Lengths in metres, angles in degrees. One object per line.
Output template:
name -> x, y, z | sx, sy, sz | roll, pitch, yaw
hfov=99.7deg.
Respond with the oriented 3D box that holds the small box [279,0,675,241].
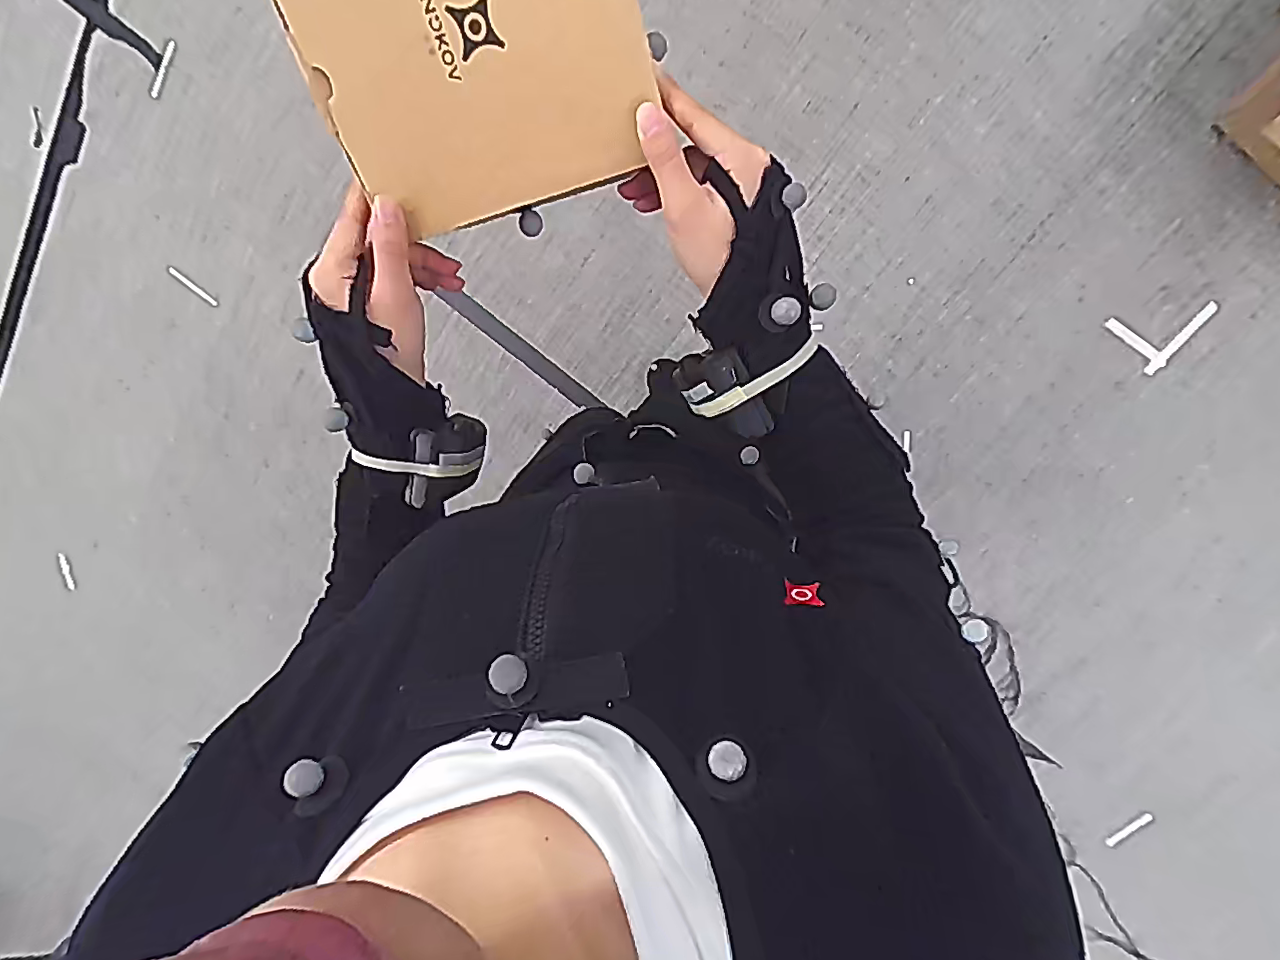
small box -> -0.085, -0.267, 0.339 | 0.179, 0.176, 0.168 | -14, 118, 7
